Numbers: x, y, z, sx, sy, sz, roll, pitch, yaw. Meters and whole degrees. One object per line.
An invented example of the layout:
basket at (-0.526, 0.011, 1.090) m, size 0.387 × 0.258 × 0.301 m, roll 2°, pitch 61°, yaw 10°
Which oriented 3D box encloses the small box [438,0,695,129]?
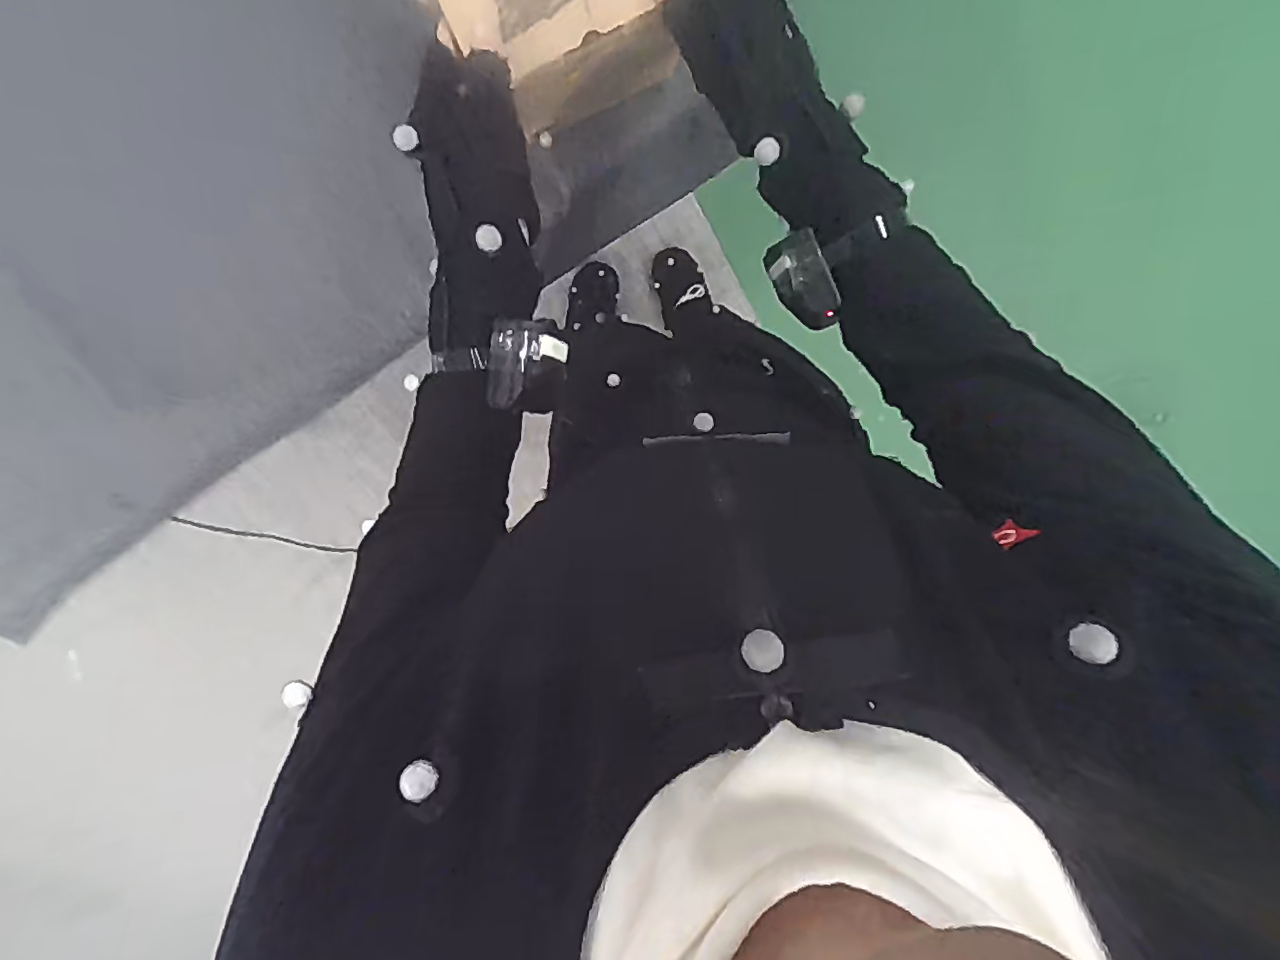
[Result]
small box at (-0.070, -0.387, 0.395) m, size 0.168 × 0.176 × 0.179 m, roll -23°, pitch 112°, yaw 3°
